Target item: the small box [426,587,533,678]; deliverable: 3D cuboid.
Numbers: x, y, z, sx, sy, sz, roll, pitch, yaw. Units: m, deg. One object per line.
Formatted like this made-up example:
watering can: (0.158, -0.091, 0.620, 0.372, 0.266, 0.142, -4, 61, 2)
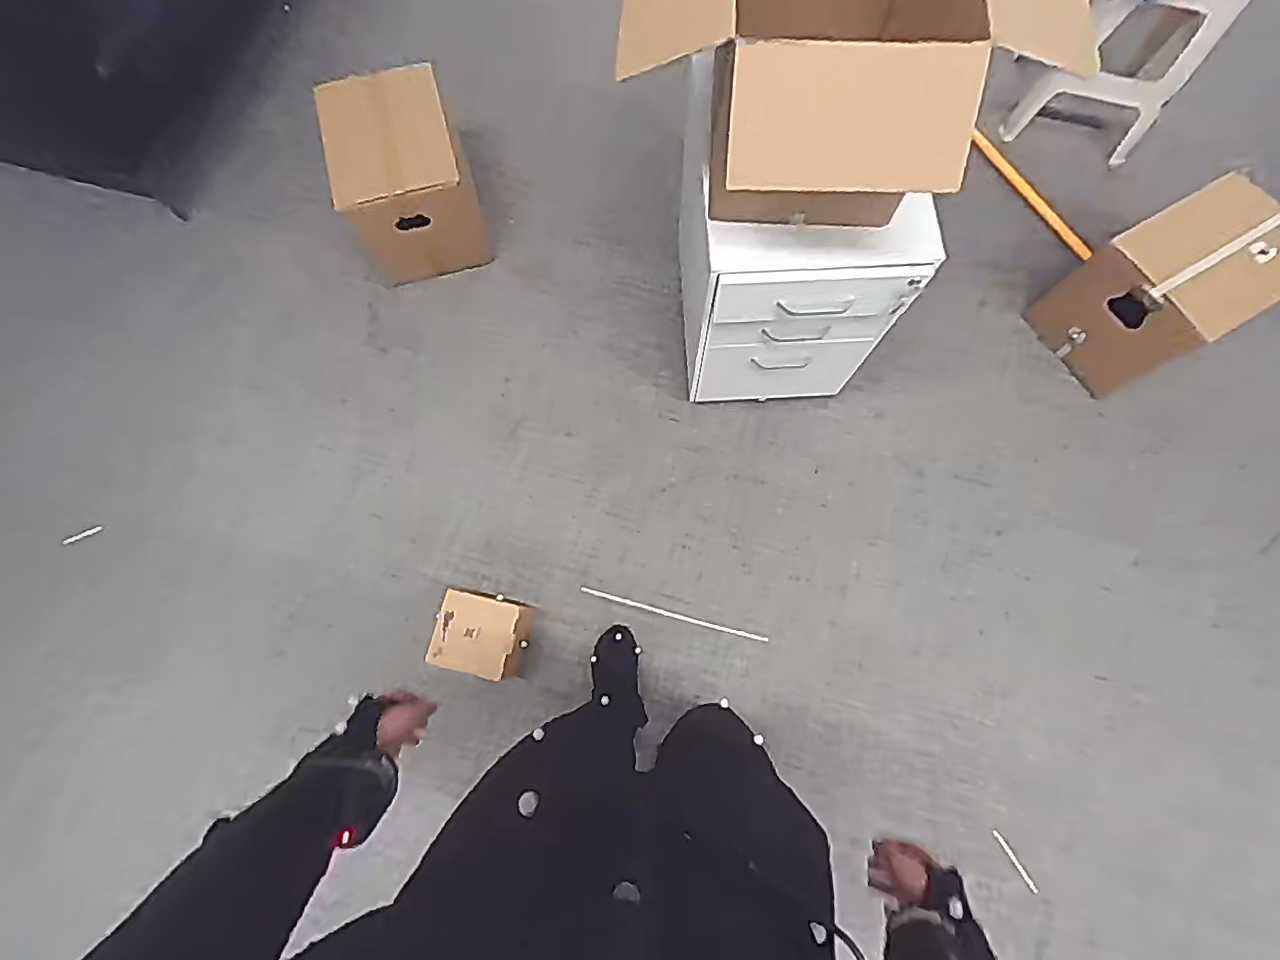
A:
small box: (-0.366, 0.356, 1.276, 0.179, 0.176, 0.168, 13, 75, 4)
